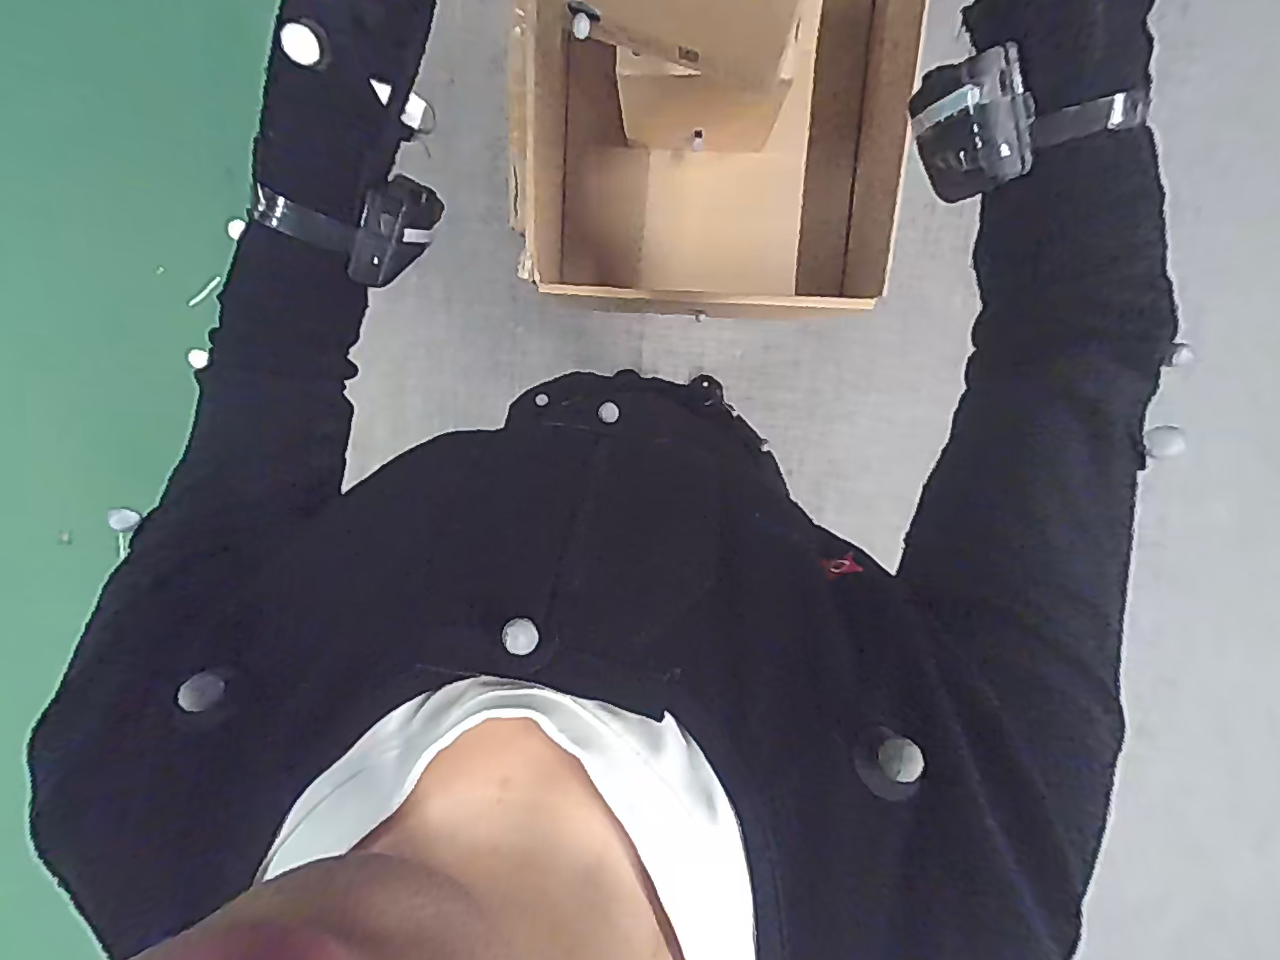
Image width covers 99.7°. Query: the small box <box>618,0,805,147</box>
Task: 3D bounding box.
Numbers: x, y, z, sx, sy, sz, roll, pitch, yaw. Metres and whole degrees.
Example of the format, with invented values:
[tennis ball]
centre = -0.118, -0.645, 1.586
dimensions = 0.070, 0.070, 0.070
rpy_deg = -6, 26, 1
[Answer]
[small box]
centre = 0.073, -0.487, 0.587
dimensions = 0.179, 0.176, 0.168
rpy_deg = 4, 99, 2
